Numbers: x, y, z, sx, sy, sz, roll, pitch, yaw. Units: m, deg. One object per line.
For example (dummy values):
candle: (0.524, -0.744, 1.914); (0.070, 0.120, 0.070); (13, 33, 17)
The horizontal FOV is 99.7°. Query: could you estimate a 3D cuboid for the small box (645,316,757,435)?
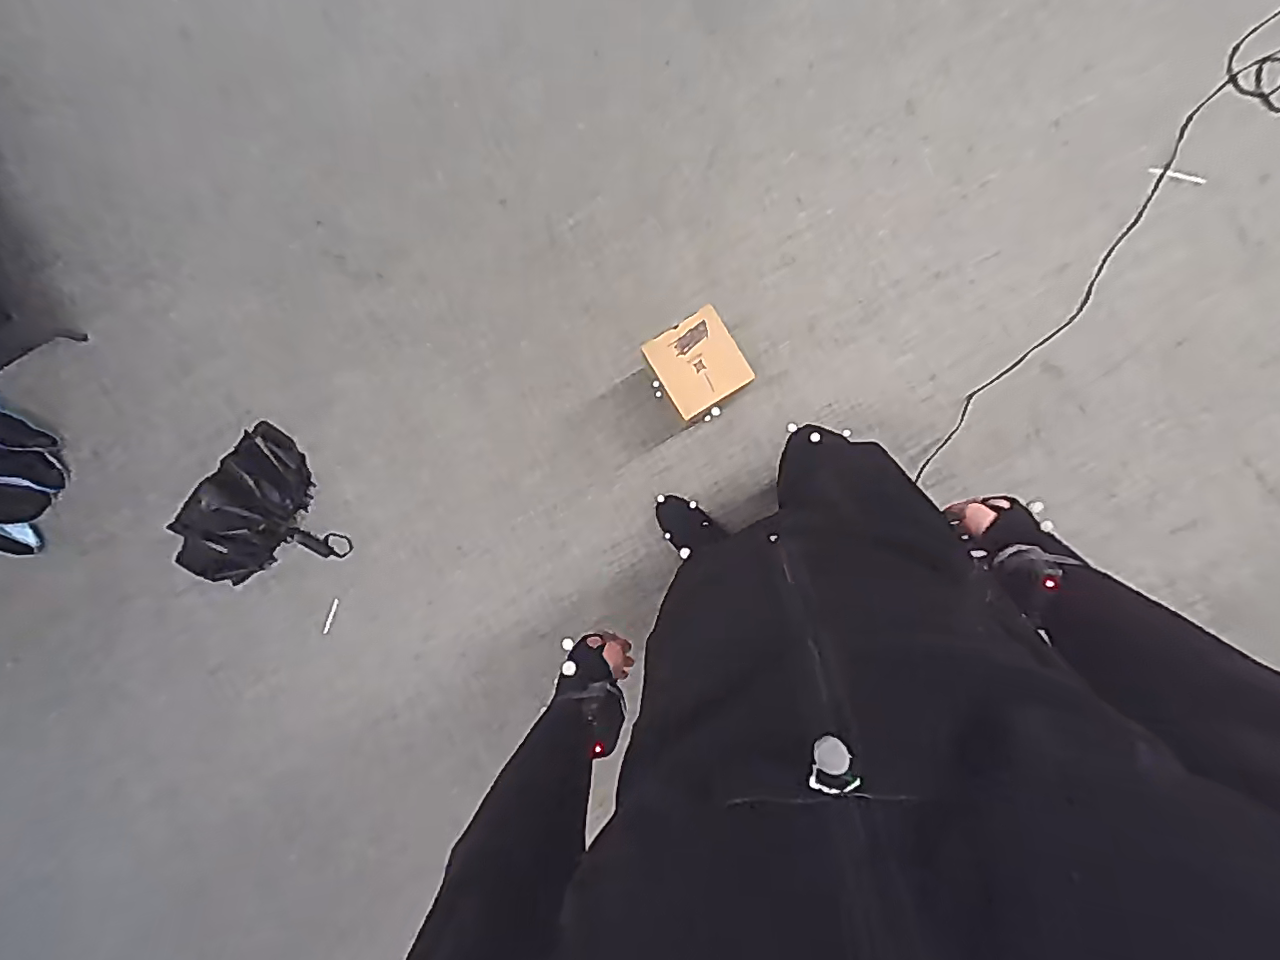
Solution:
small box: (0.123, -0.211, 1.150); (0.168, 0.176, 0.179); (-32, 89, 3)
